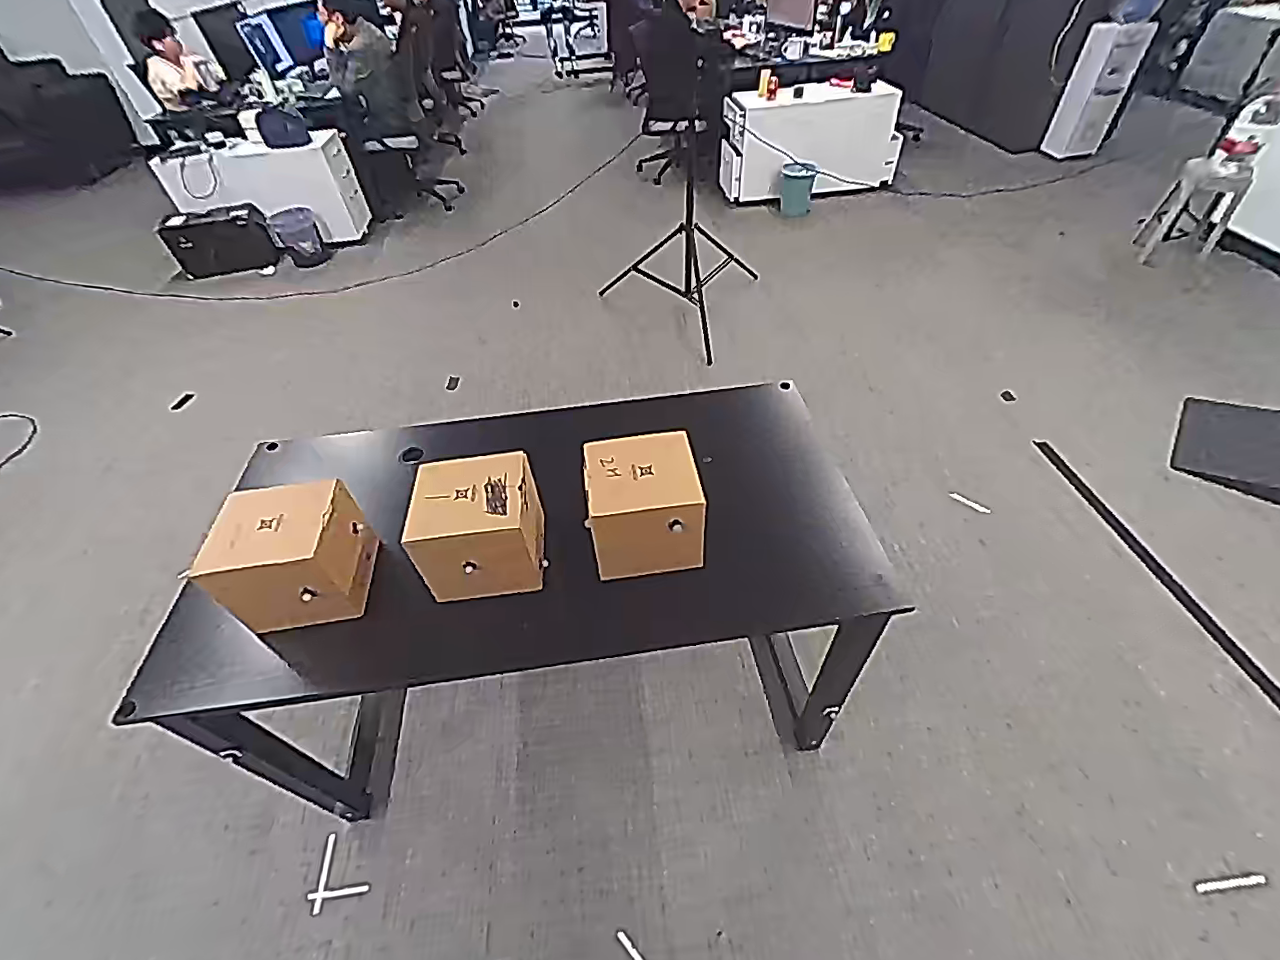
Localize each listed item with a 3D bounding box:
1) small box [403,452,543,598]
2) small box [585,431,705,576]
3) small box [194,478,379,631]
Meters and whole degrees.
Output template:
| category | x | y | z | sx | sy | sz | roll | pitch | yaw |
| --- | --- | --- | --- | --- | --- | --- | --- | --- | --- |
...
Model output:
| category | x | y | z | sx | sy | sz | roll | pitch | yaw |
| --- | --- | --- | --- | --- | --- | --- | --- | --- | --- |
| small box | -0.262 | 0.077 | 0.898 | 0.179 | 0.176 | 0.168 | -8 | 46 | -1 |
| small box | 0.006 | 0.042 | 0.910 | 0.179 | 0.176 | 0.168 | -8 | 46 | -2 |
| small box | -0.553 | 0.123 | 0.880 | 0.179 | 0.176 | 0.168 | -10 | 46 | -4 |
